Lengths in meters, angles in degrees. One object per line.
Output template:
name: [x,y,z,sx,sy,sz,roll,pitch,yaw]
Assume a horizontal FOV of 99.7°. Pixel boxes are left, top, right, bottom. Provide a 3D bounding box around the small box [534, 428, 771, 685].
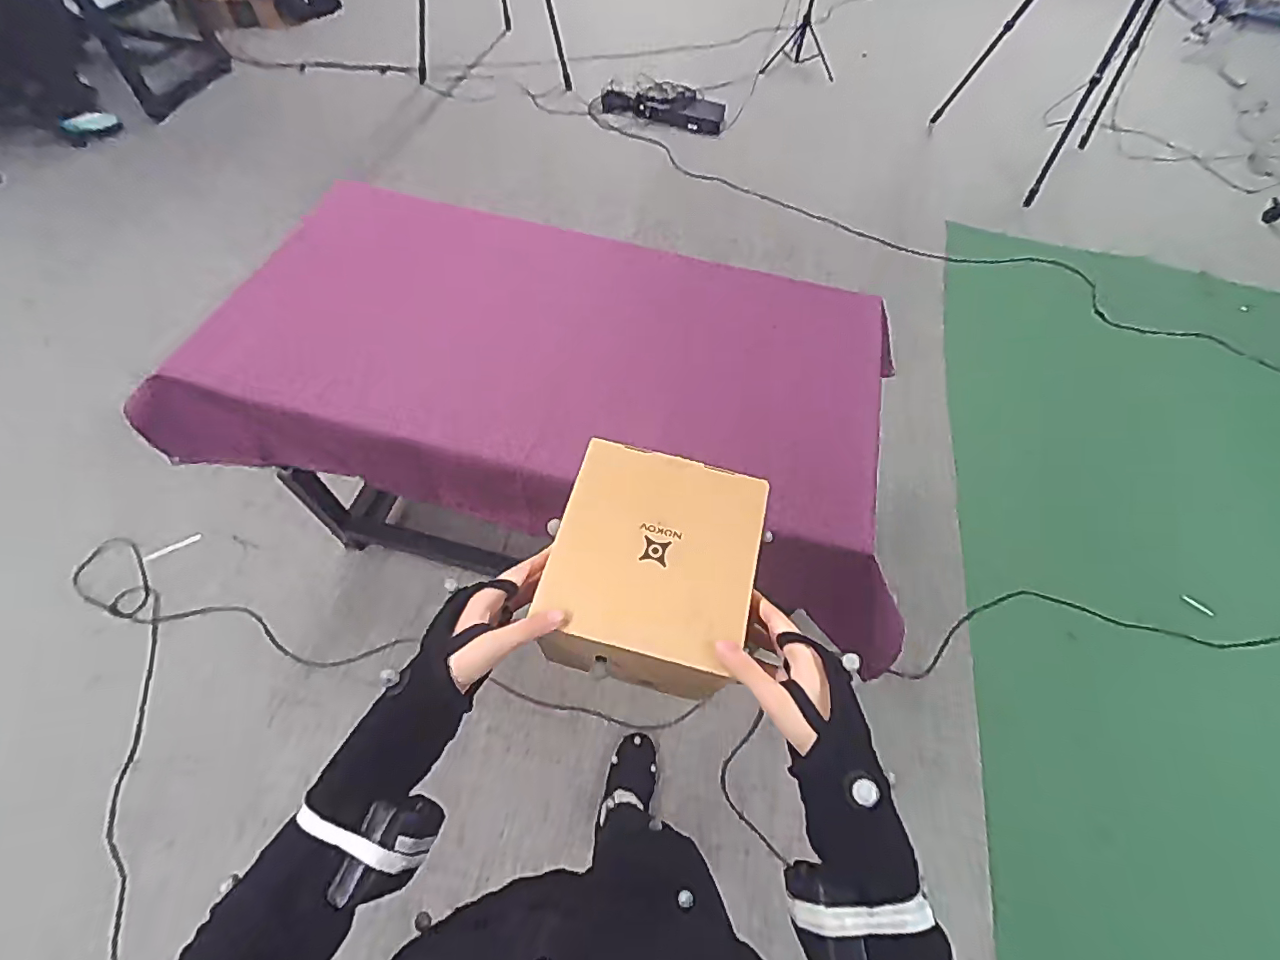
small box: [0.013,0.083,0.521,0.168,0.176,0.179,15,61,4]
